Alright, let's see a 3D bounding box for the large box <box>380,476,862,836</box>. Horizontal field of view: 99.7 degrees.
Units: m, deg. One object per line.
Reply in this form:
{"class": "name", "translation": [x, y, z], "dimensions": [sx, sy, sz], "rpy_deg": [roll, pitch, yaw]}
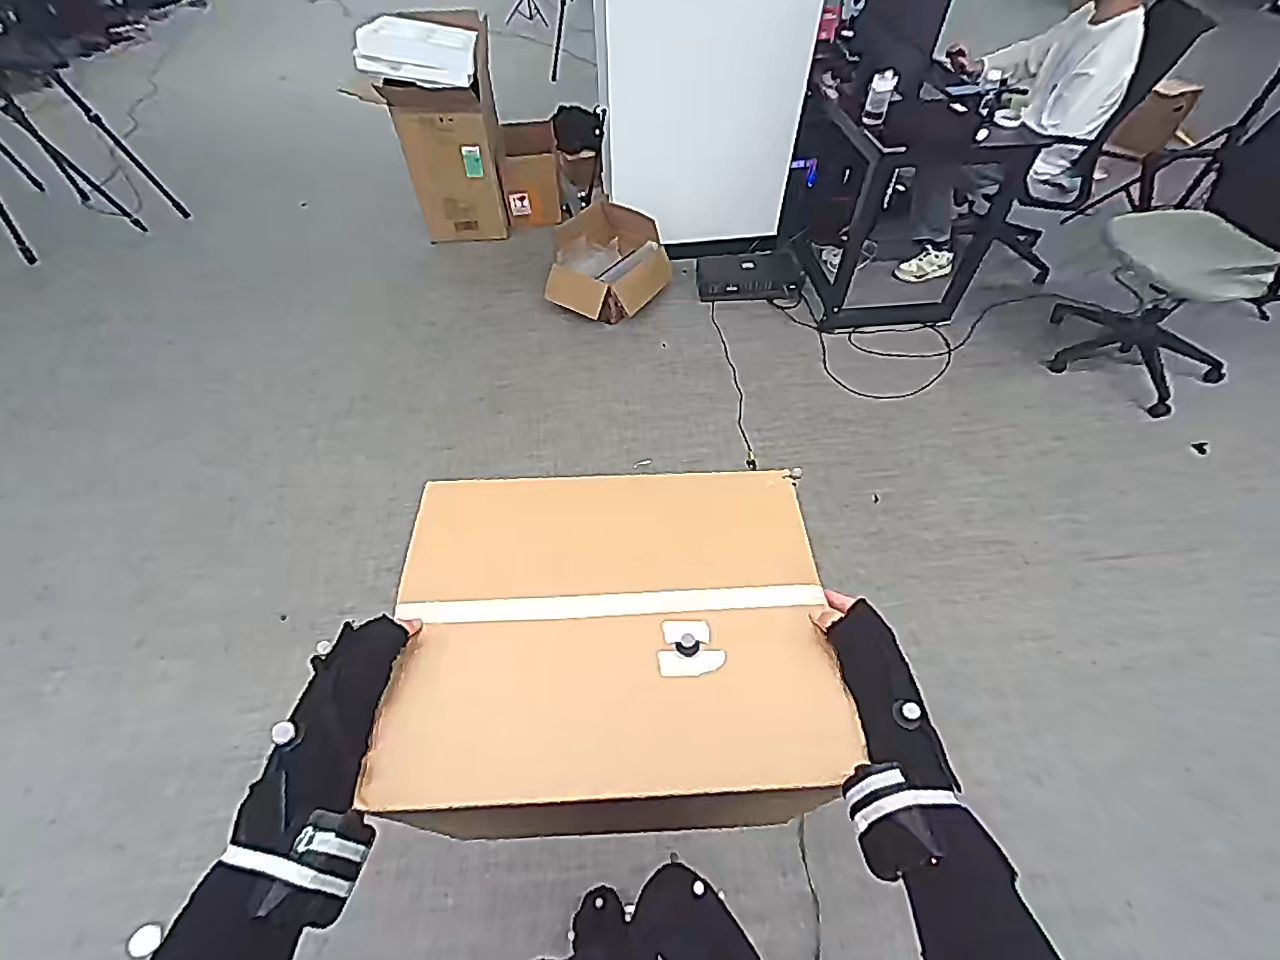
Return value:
{"class": "large box", "translation": [-0.023, 0.215, 0.645], "dimensions": [0.408, 0.320, 0.320], "rpy_deg": [-2, 53, -2]}
